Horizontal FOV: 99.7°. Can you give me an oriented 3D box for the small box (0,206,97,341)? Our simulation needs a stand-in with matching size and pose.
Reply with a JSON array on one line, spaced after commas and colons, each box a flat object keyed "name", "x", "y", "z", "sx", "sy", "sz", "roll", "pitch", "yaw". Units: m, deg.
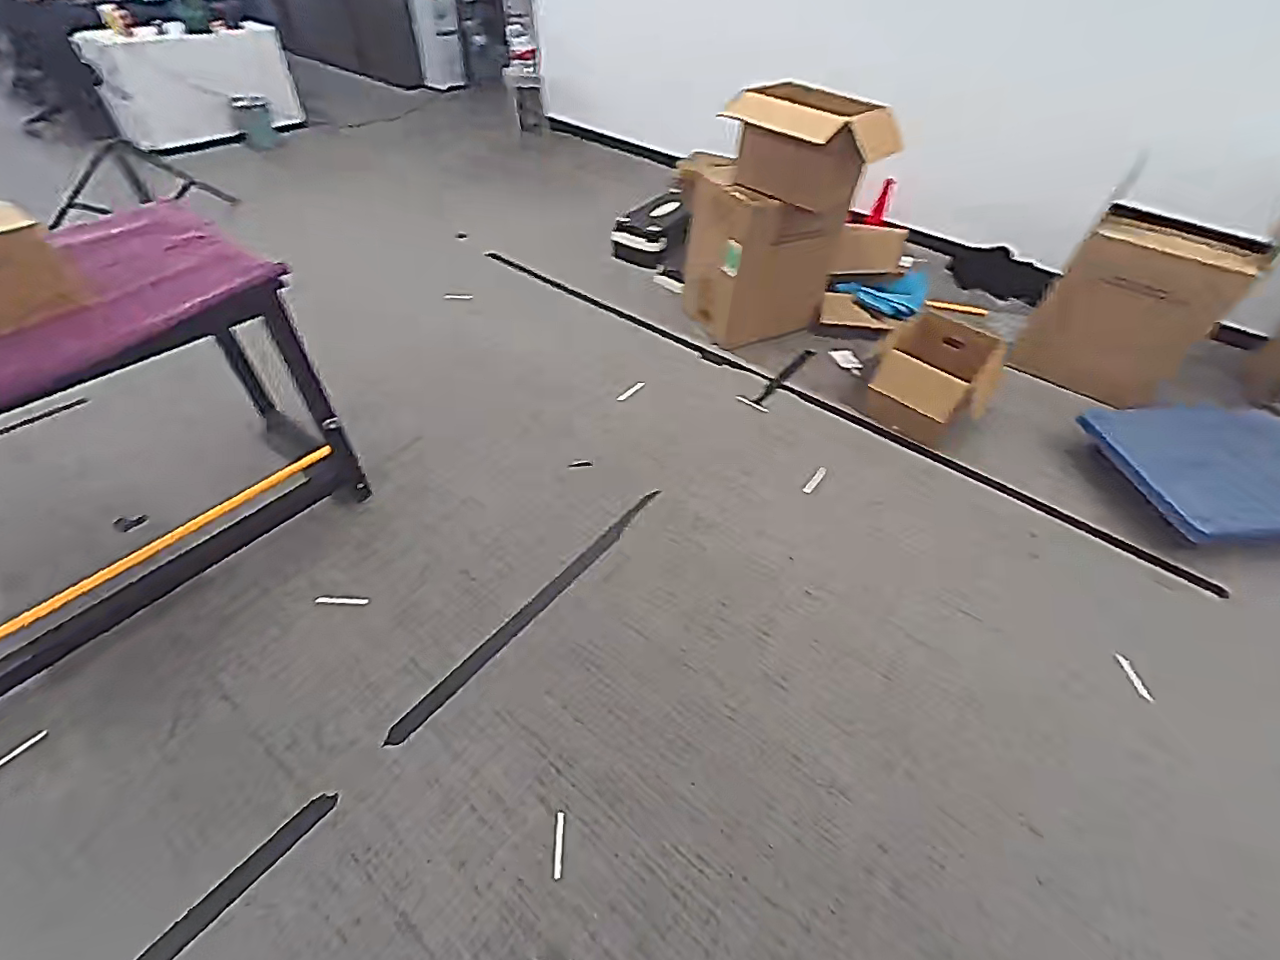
[{"name": "small box", "x": -1.227, "y": -0.402, "z": 1.054, "sx": 0.168, "sy": 0.176, "sz": 0.179, "roll": 29, "pitch": 52, "yaw": 21}]
